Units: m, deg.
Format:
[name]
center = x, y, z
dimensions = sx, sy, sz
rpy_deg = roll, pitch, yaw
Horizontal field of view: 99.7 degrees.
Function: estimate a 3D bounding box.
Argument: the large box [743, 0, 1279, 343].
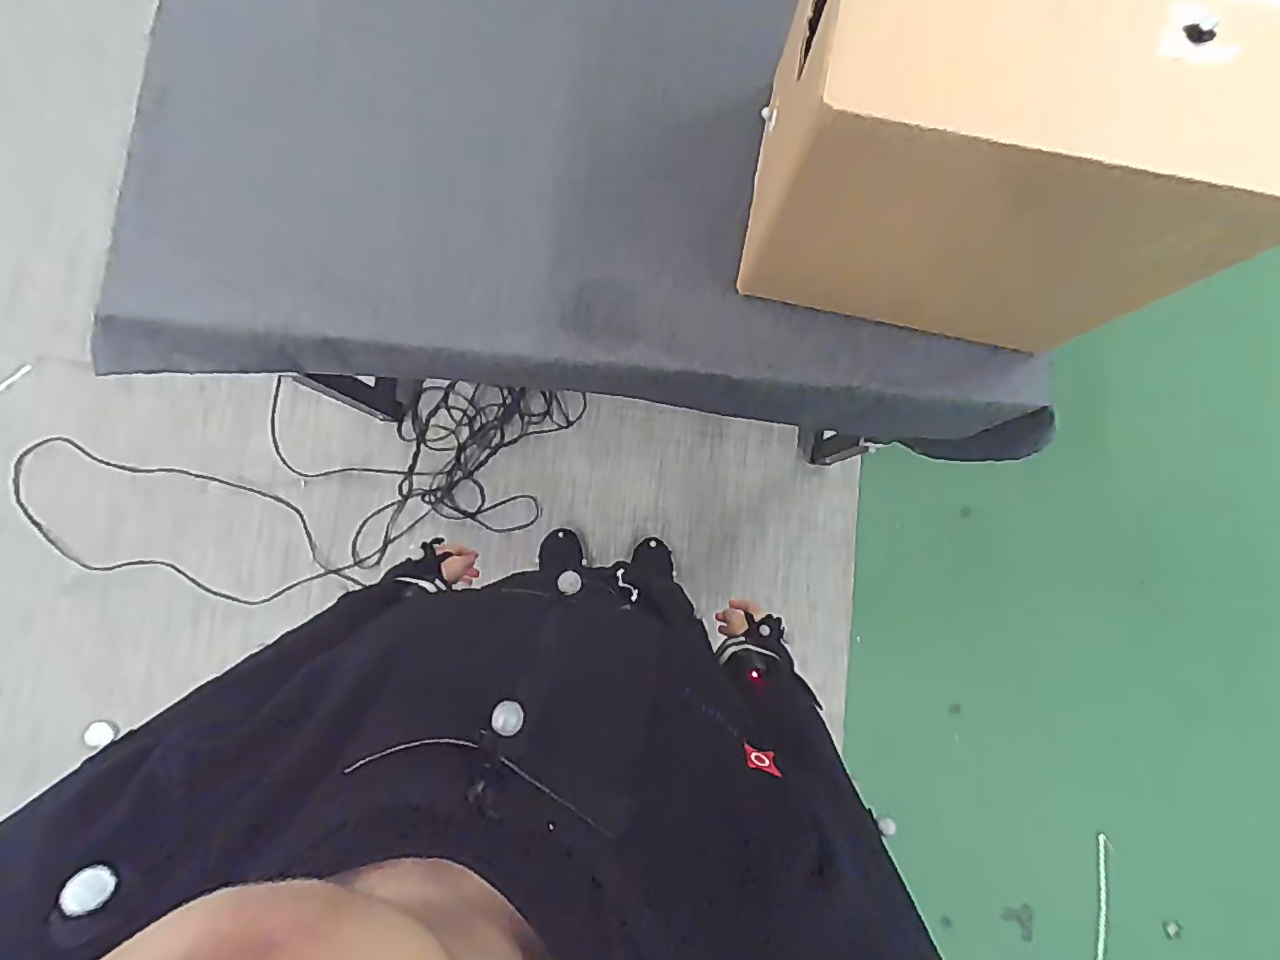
[large box]
center = 0.353, -0.372, 0.565
dimensions = 0.408, 0.320, 0.320
rpy_deg = 11, 84, -1
